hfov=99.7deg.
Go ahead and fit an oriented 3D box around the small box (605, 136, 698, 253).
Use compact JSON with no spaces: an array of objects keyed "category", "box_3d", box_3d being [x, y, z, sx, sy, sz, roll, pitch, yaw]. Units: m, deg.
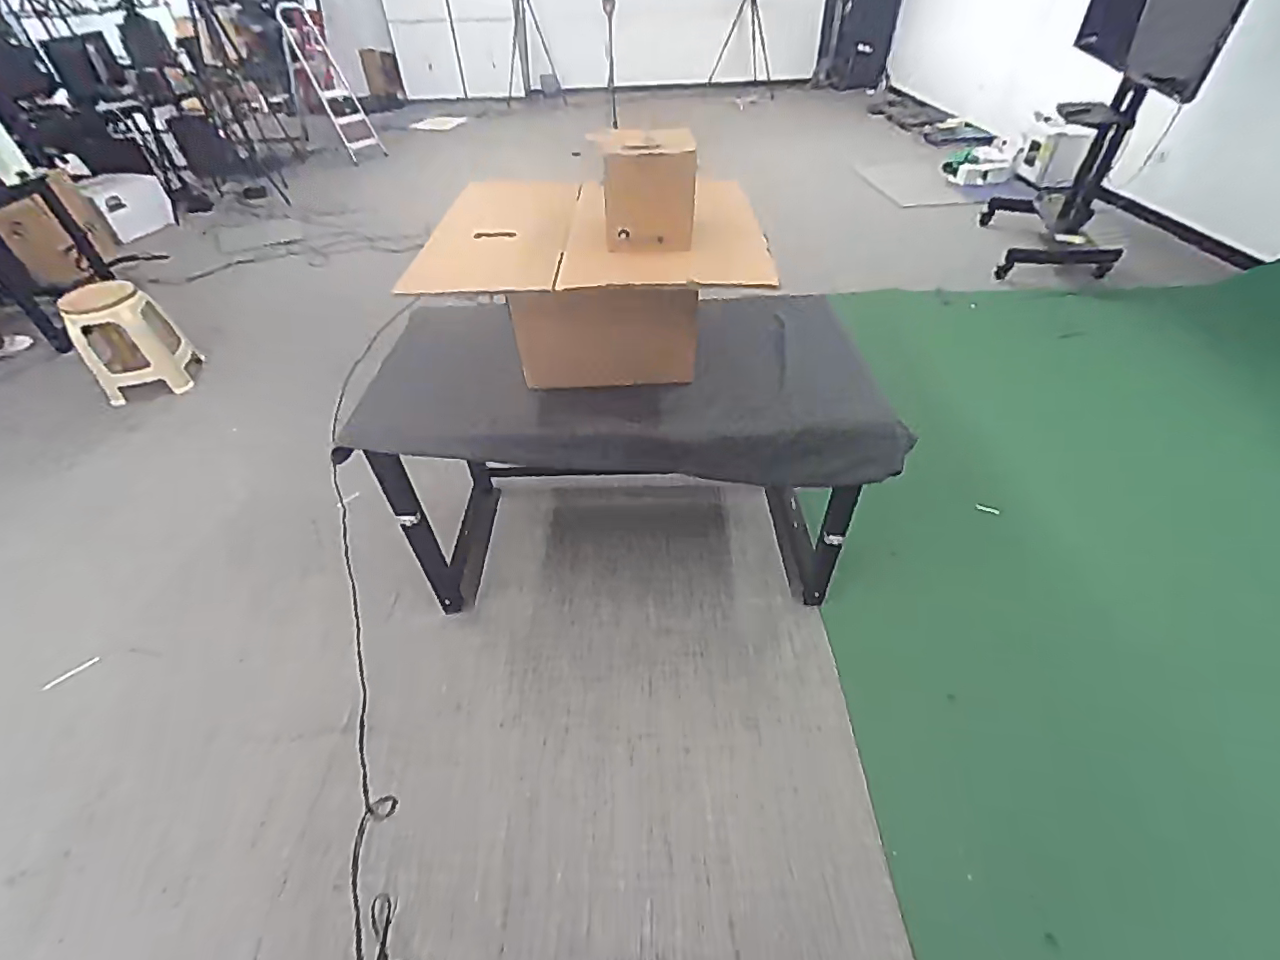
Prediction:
[{"category":"small box","box_3d":[0.022,-0.556,1.057,0.168,0.176,0.179,-1,43,0]}]
